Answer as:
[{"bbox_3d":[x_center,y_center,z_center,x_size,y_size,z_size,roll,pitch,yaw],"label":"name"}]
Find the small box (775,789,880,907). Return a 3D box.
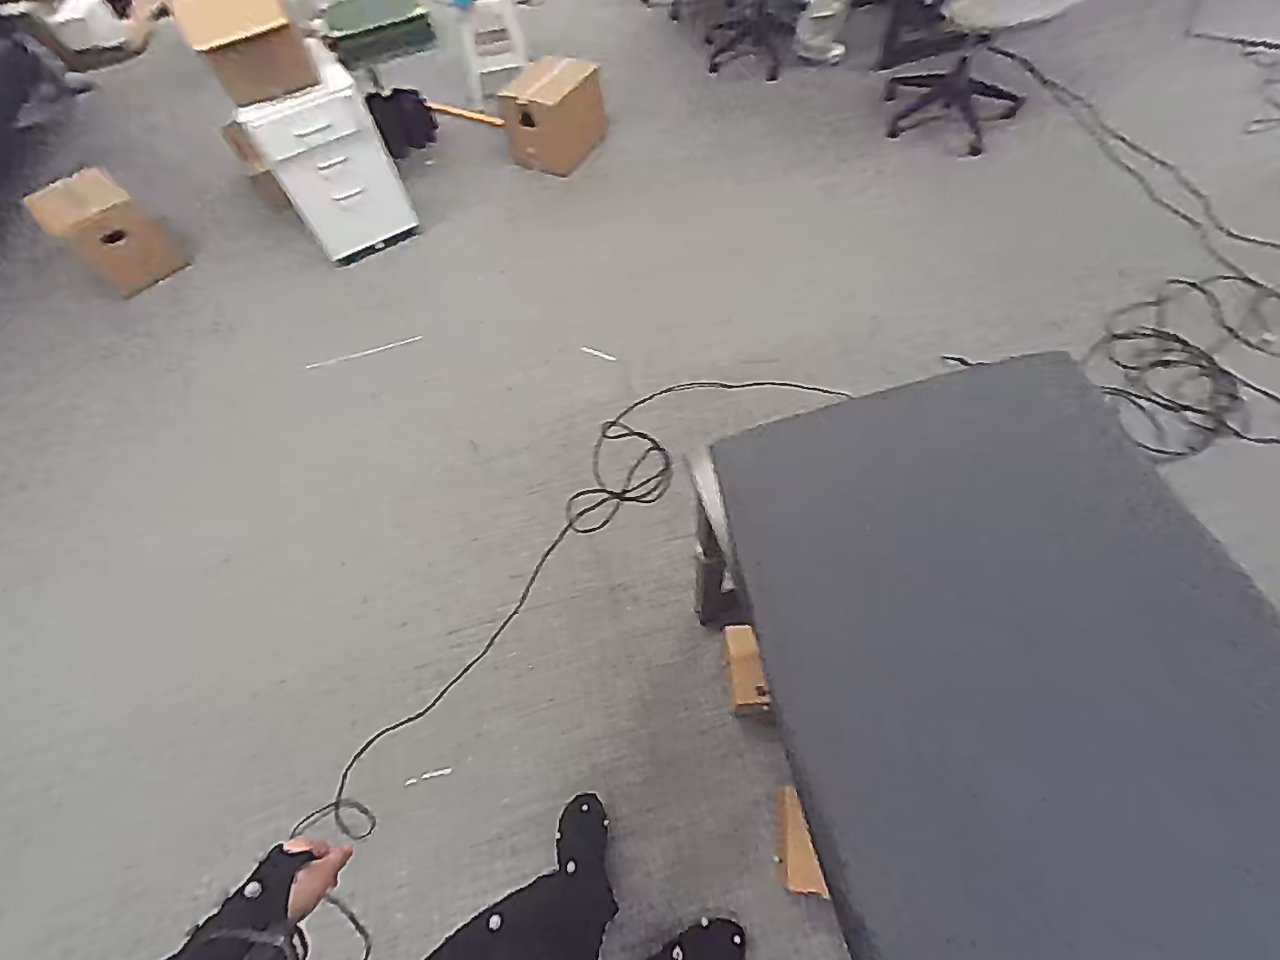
[{"bbox_3d":[0.373,0.743,1.104,0.168,0.176,0.179,2,57,6],"label":"small box"}]

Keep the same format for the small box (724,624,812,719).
[{"bbox_3d":[0.295,0.458,1.288,0.168,0.176,0.179,-5,57,2],"label":"small box"}]
